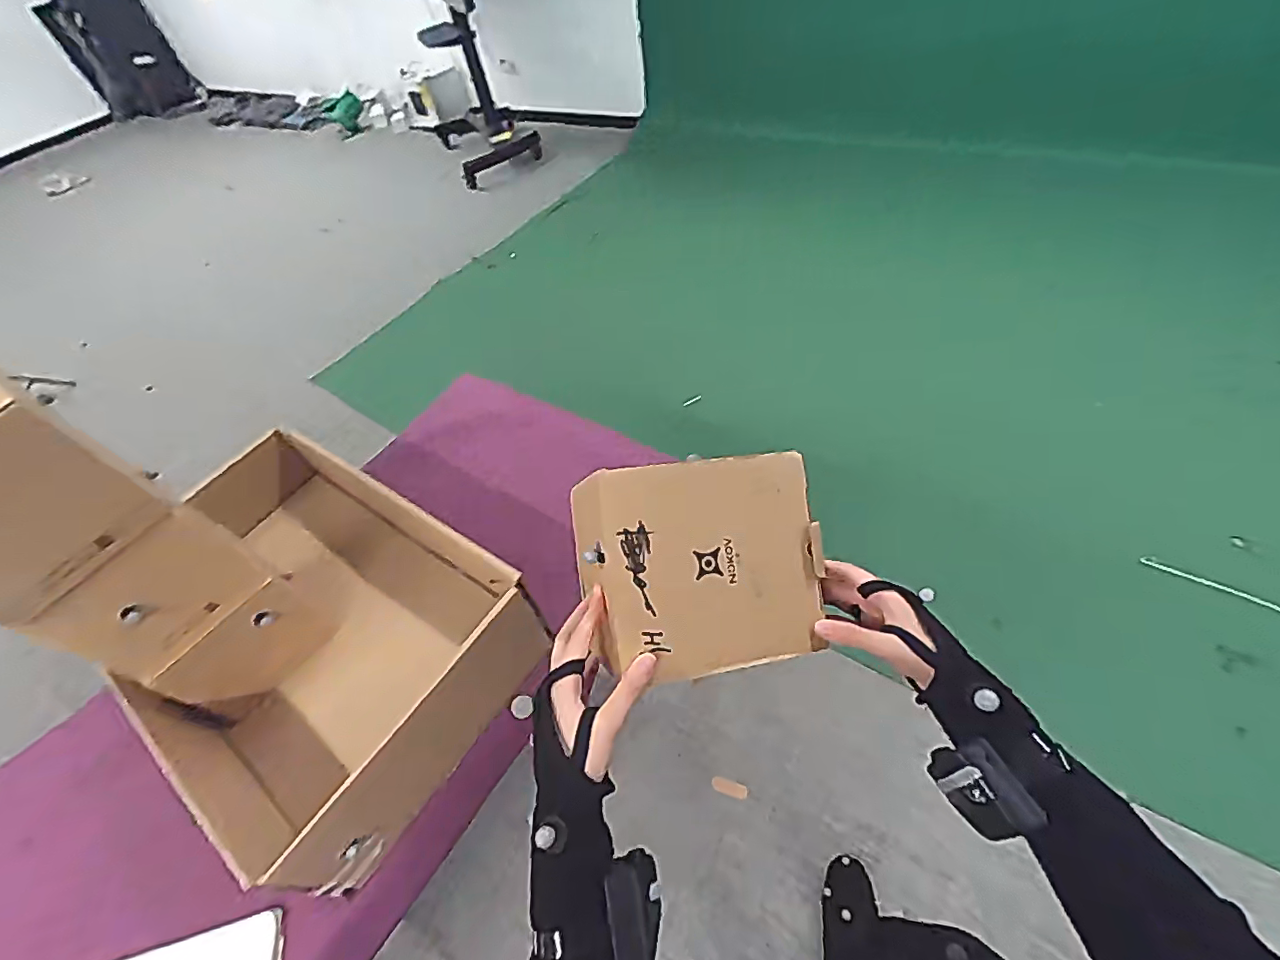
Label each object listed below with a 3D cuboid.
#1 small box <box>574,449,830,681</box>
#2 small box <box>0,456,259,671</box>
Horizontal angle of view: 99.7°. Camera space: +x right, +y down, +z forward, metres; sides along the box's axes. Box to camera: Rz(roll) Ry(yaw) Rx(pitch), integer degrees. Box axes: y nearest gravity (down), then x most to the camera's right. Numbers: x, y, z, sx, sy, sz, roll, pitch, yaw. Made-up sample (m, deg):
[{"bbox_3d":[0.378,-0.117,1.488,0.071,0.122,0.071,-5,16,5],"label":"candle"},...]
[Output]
[{"bbox_3d":[0.043,0.069,0.498,0.179,0.176,0.168,-5,84,-15],"label":"small box"},{"bbox_3d":[-0.620,0.107,0.659,0.179,0.176,0.168,27,61,27],"label":"small box"}]
